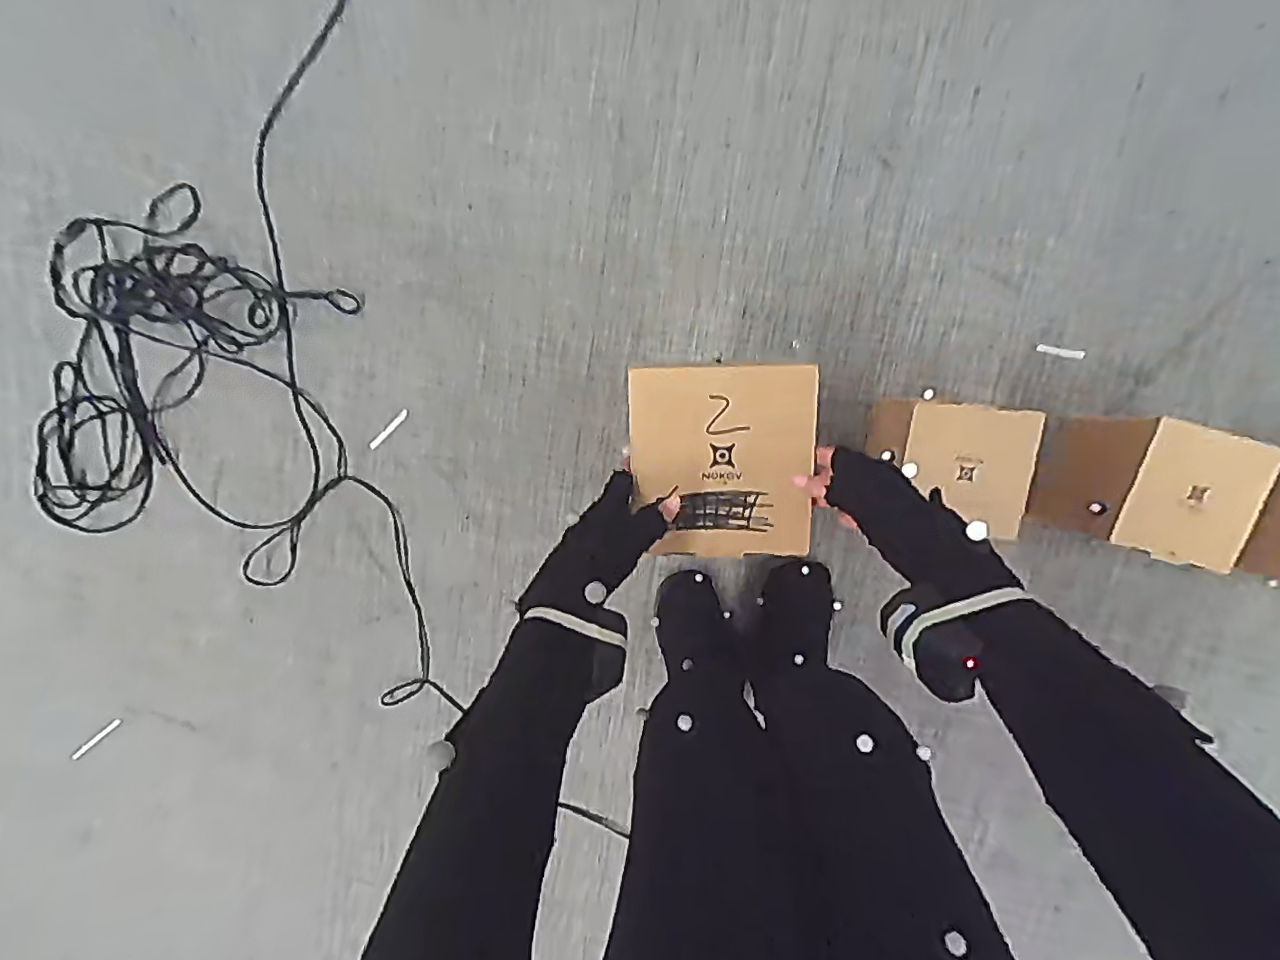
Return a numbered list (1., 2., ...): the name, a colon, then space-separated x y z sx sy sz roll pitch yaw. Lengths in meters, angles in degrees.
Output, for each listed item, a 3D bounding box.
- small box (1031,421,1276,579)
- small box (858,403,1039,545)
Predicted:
1. small box: 0.721 0.017 0.785 0.168 0.176 0.179 16 99 2
2. small box: 0.438 -0.019 0.800 0.168 0.176 0.179 7 100 5
